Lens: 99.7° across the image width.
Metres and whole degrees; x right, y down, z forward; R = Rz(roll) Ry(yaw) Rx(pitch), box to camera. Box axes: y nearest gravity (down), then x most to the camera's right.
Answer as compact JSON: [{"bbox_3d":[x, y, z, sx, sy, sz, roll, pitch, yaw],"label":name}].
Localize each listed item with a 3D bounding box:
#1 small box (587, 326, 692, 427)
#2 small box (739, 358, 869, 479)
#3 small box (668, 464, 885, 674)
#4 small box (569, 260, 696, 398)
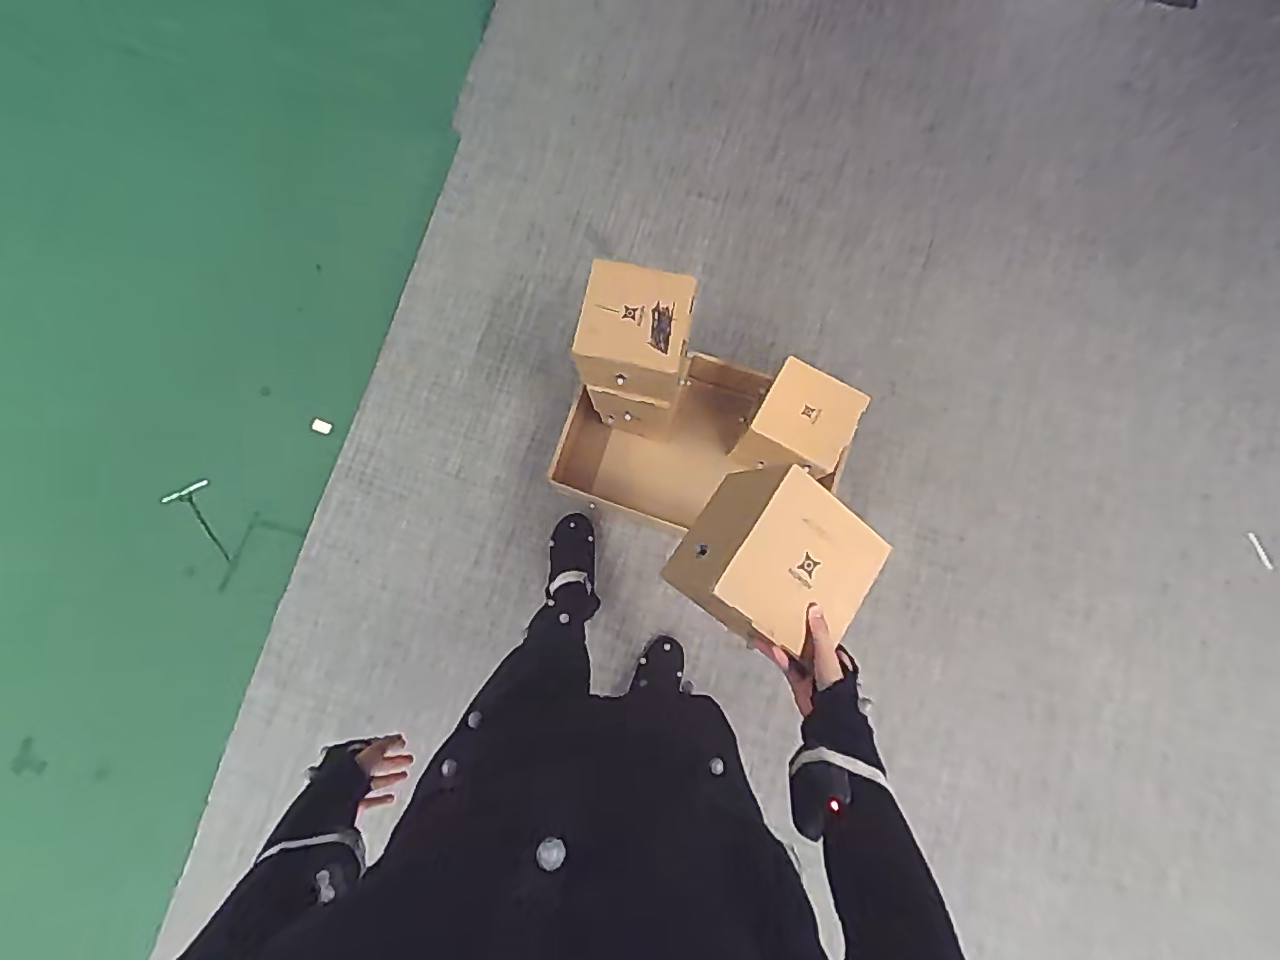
[{"bbox_3d":[0.000,-0.225,1.108,0.168,0.176,0.179,16,84,4],"label":"small box"},{"bbox_3d":[0.317,-0.112,1.090,0.179,0.176,0.168,30,85,4],"label":"small box"},{"bbox_3d":[0.154,0.103,0.674,0.168,0.176,0.179,40,76,-11],"label":"small box"},{"bbox_3d":[-0.008,-0.252,0.945,0.179,0.176,0.168,13,83,4],"label":"small box"}]
